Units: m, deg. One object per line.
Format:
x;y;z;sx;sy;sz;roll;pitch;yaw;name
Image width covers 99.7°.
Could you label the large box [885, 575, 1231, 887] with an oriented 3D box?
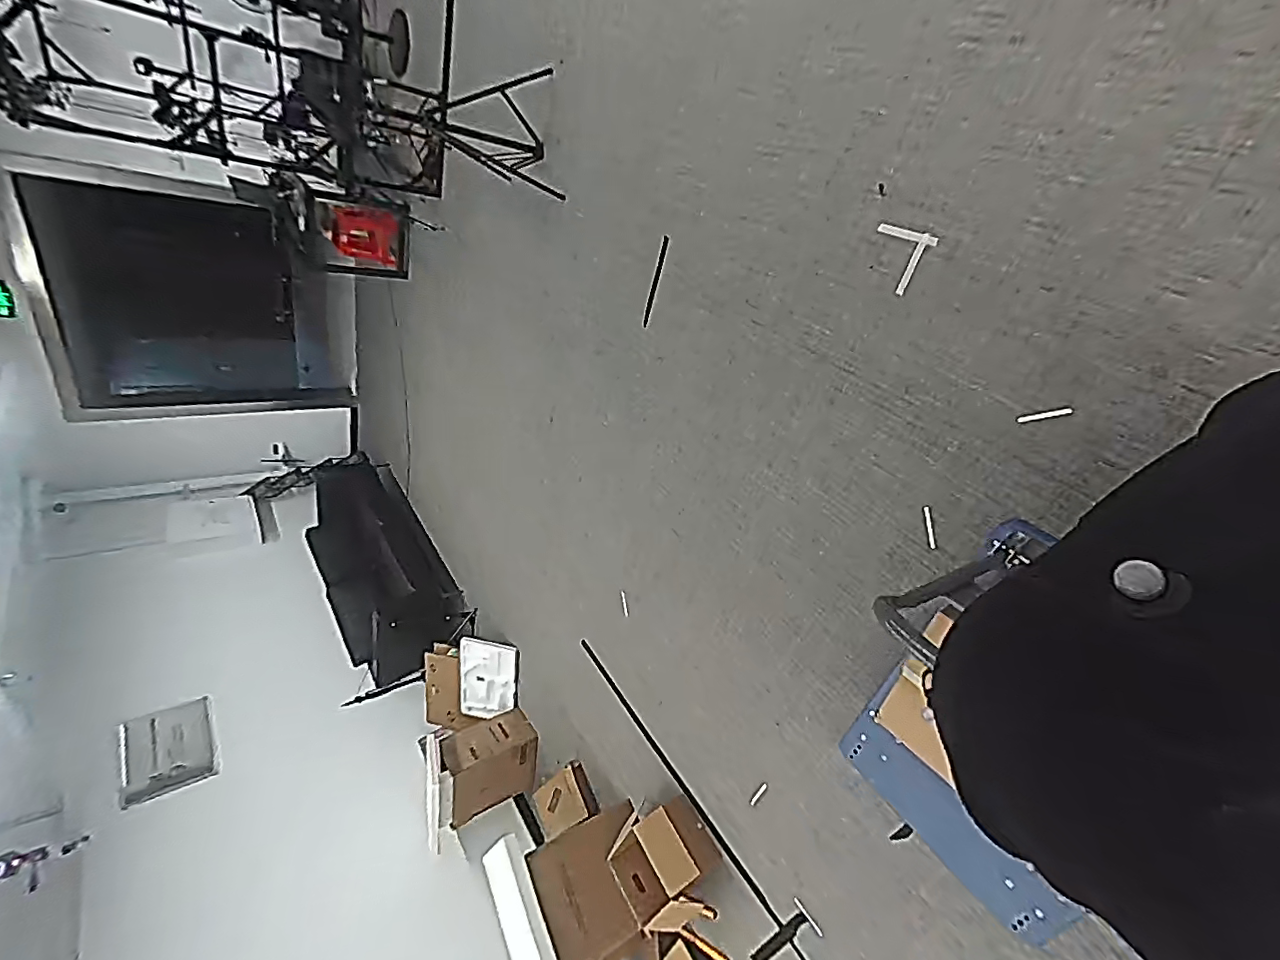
0.794;0.452;1.068;0.408;0.320;0.320;40;126;42;large box
